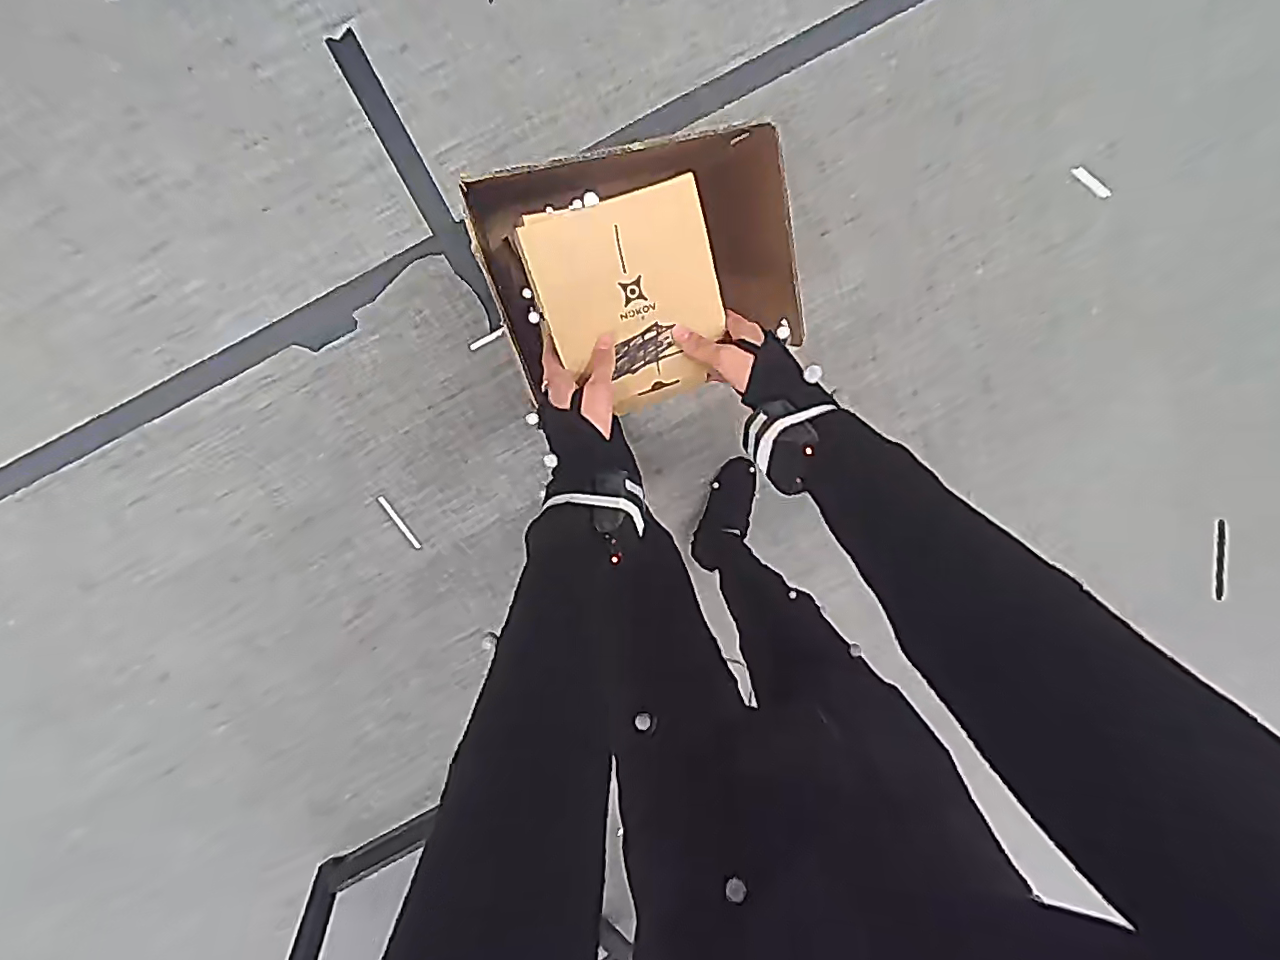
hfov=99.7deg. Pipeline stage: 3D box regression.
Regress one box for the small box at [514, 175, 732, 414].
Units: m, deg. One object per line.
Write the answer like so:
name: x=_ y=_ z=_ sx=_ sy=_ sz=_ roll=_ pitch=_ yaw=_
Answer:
small box: x=-0.023 y=-0.190 z=0.565 sx=0.168 sy=0.176 sz=0.179 roll=-19 pitch=112 yaw=-5
